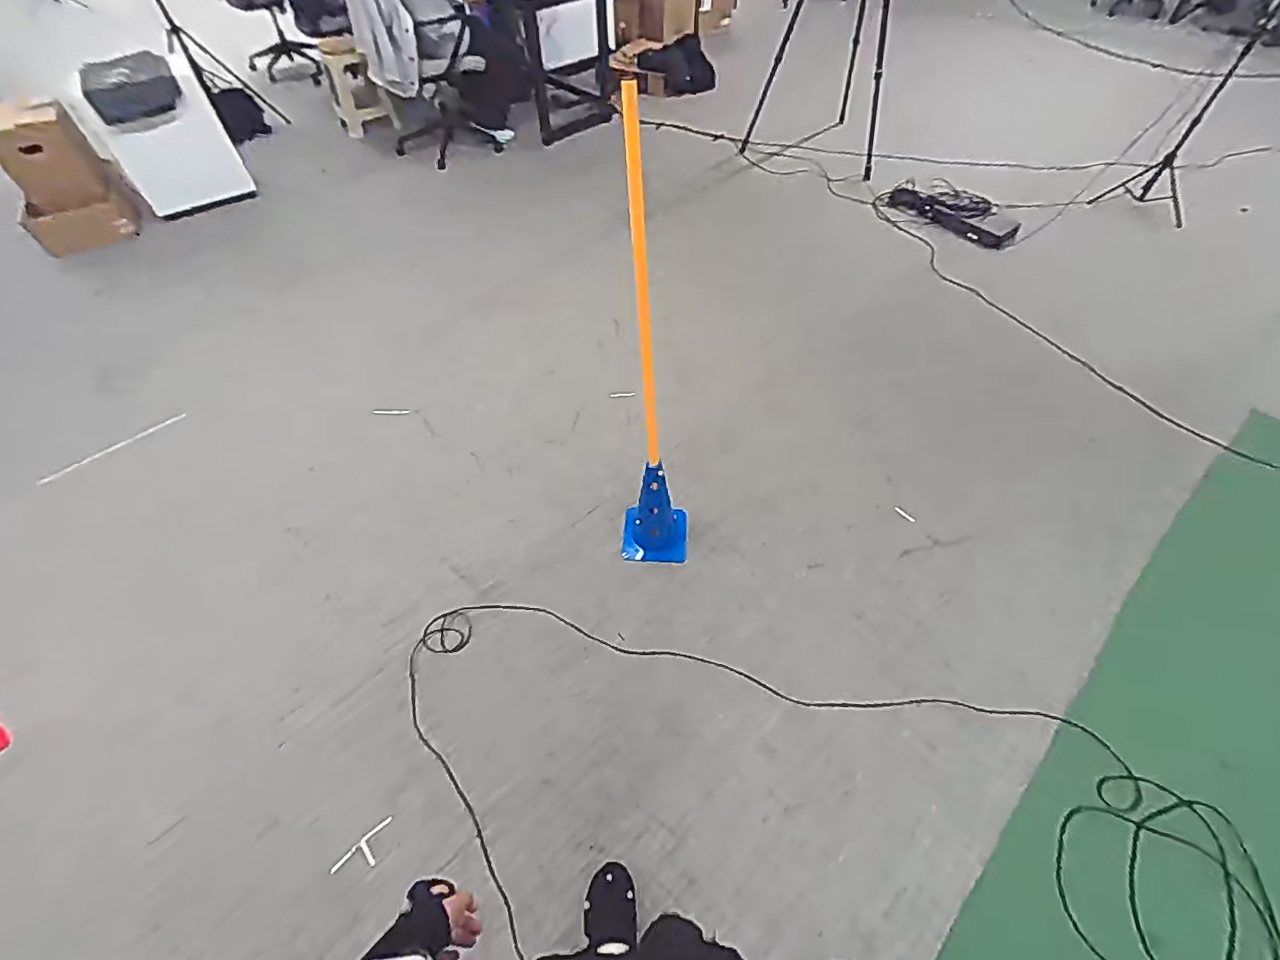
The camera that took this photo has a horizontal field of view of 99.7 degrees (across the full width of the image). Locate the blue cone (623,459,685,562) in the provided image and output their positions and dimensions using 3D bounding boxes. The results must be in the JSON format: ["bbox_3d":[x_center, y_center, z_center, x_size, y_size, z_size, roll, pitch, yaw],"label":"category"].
[{"bbox_3d":[0.039,0.073,1.570,0.192,0.380,0.193,1,51,3],"label":"blue cone"}]
